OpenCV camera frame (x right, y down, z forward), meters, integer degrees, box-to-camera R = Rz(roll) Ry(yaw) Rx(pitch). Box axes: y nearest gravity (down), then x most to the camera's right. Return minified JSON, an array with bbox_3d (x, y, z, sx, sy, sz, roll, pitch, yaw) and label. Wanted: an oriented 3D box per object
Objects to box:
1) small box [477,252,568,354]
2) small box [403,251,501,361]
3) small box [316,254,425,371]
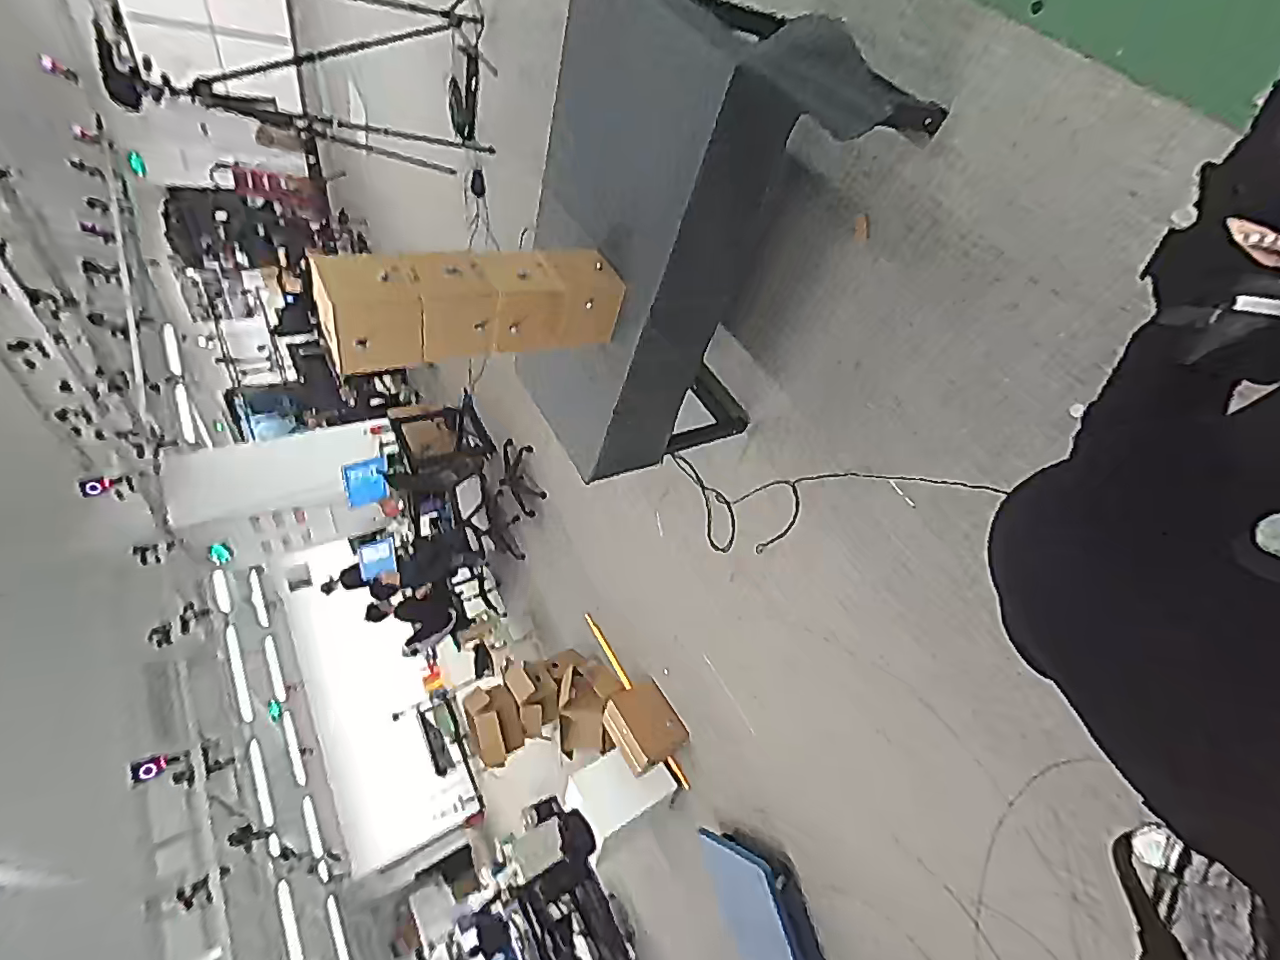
[{"bbox_3d":[-0.292,-0.435,1.315,0.168,0.176,0.179,56,144,27],"label":"small box"},{"bbox_3d":[-0.429,-0.399,1.234,0.168,0.176,0.179,58,144,25],"label":"small box"},{"bbox_3d":[-0.568,-0.359,1.153,0.168,0.176,0.179,56,144,26],"label":"small box"}]
